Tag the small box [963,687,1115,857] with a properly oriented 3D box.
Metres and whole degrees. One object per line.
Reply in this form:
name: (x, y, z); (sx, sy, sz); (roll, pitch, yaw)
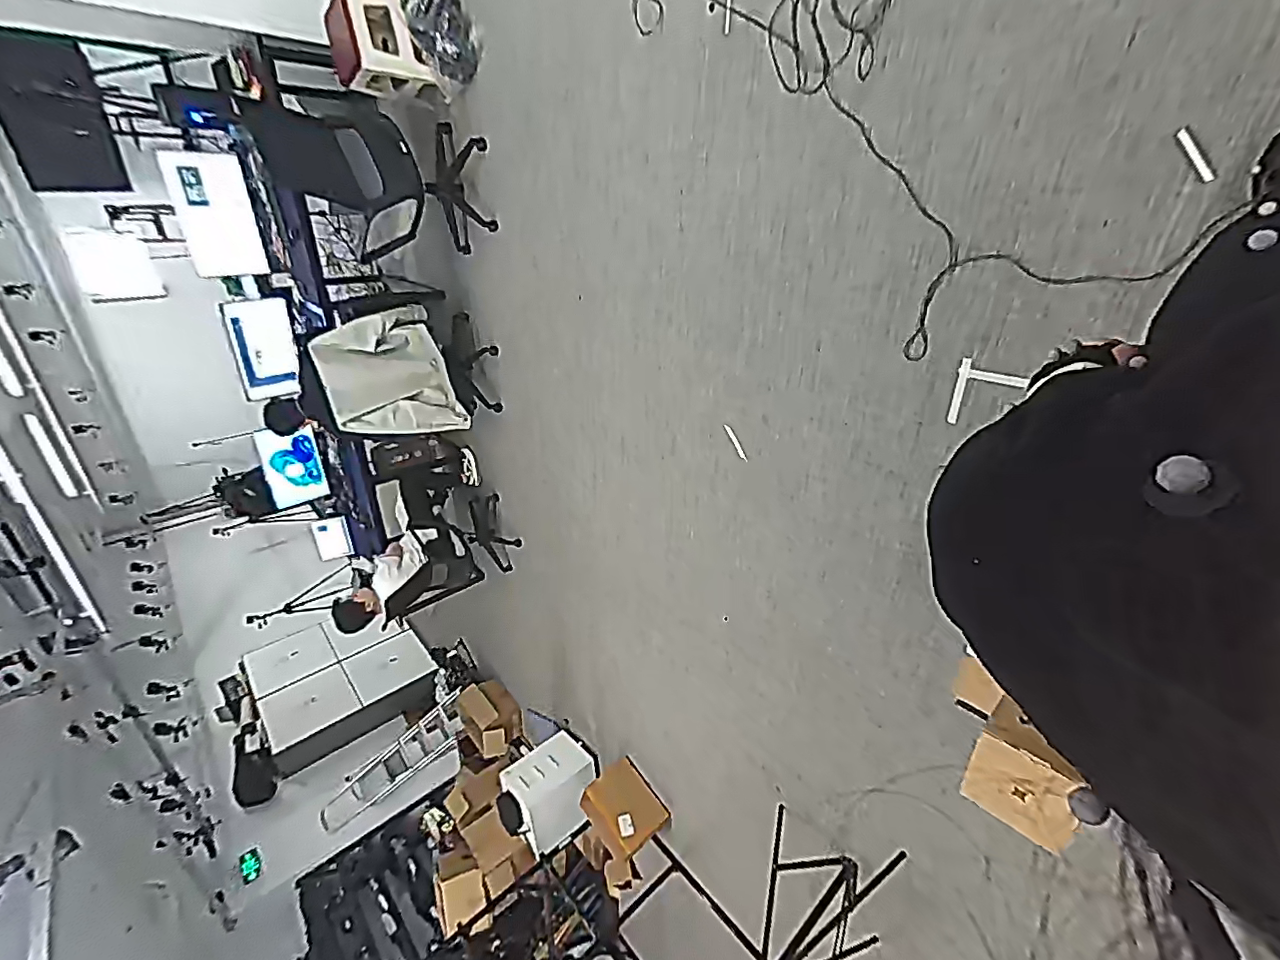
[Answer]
small box: (0.728, 0.520, 0.988); (0.168, 0.176, 0.179); (25, 127, 44)
